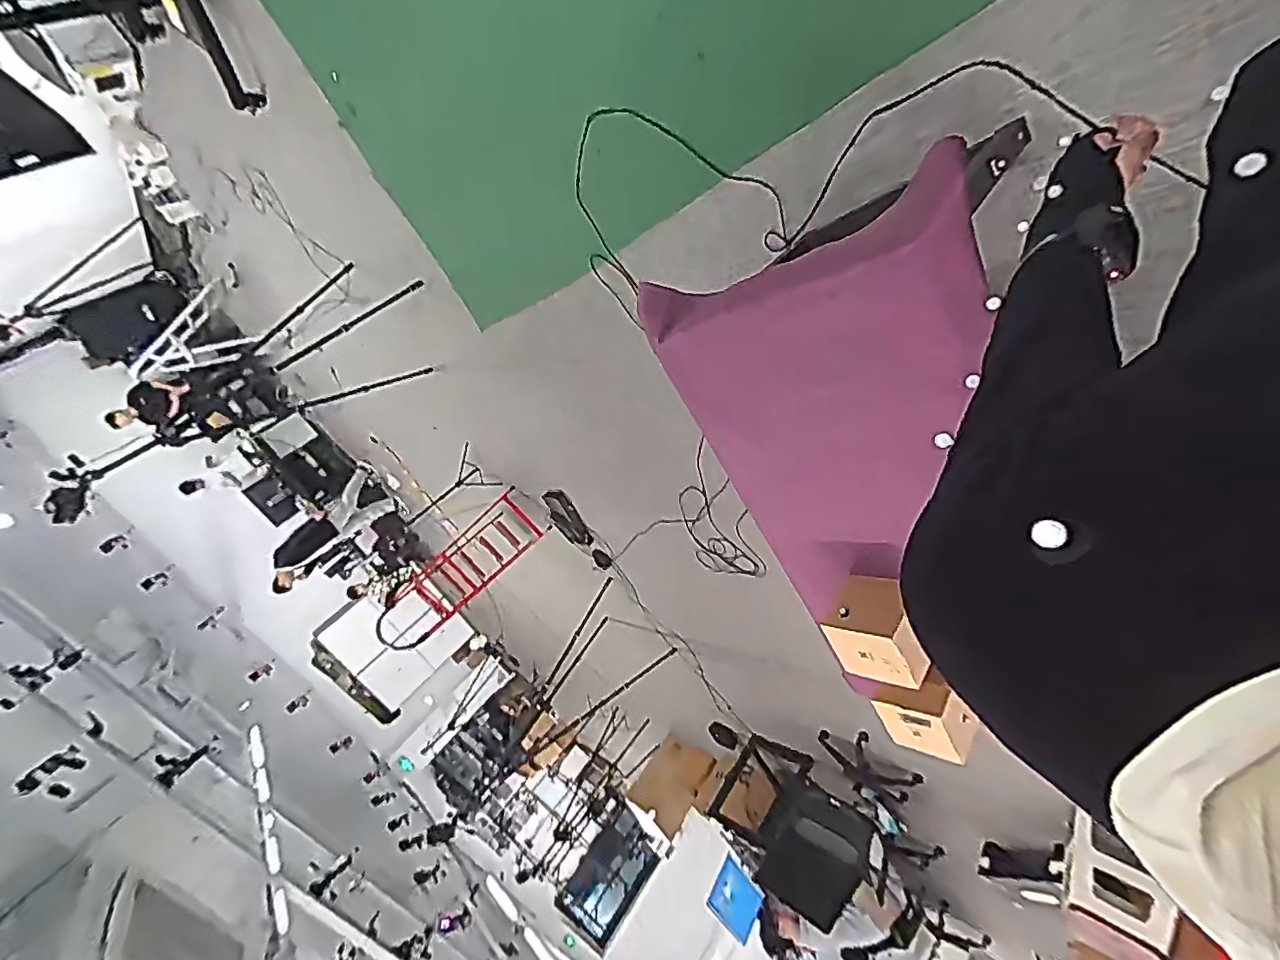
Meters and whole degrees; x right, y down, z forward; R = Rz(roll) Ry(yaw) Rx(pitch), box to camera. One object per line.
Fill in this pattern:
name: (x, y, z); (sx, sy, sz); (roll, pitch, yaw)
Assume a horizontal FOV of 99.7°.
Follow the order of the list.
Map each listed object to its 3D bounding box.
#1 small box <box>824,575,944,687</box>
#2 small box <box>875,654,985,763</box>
small box: (0.562, 0.336, 1.240); (0.179, 0.176, 0.168); (-4, 125, 51)
small box: (0.706, 0.535, 1.310); (0.168, 0.176, 0.179); (-5, 125, 52)
